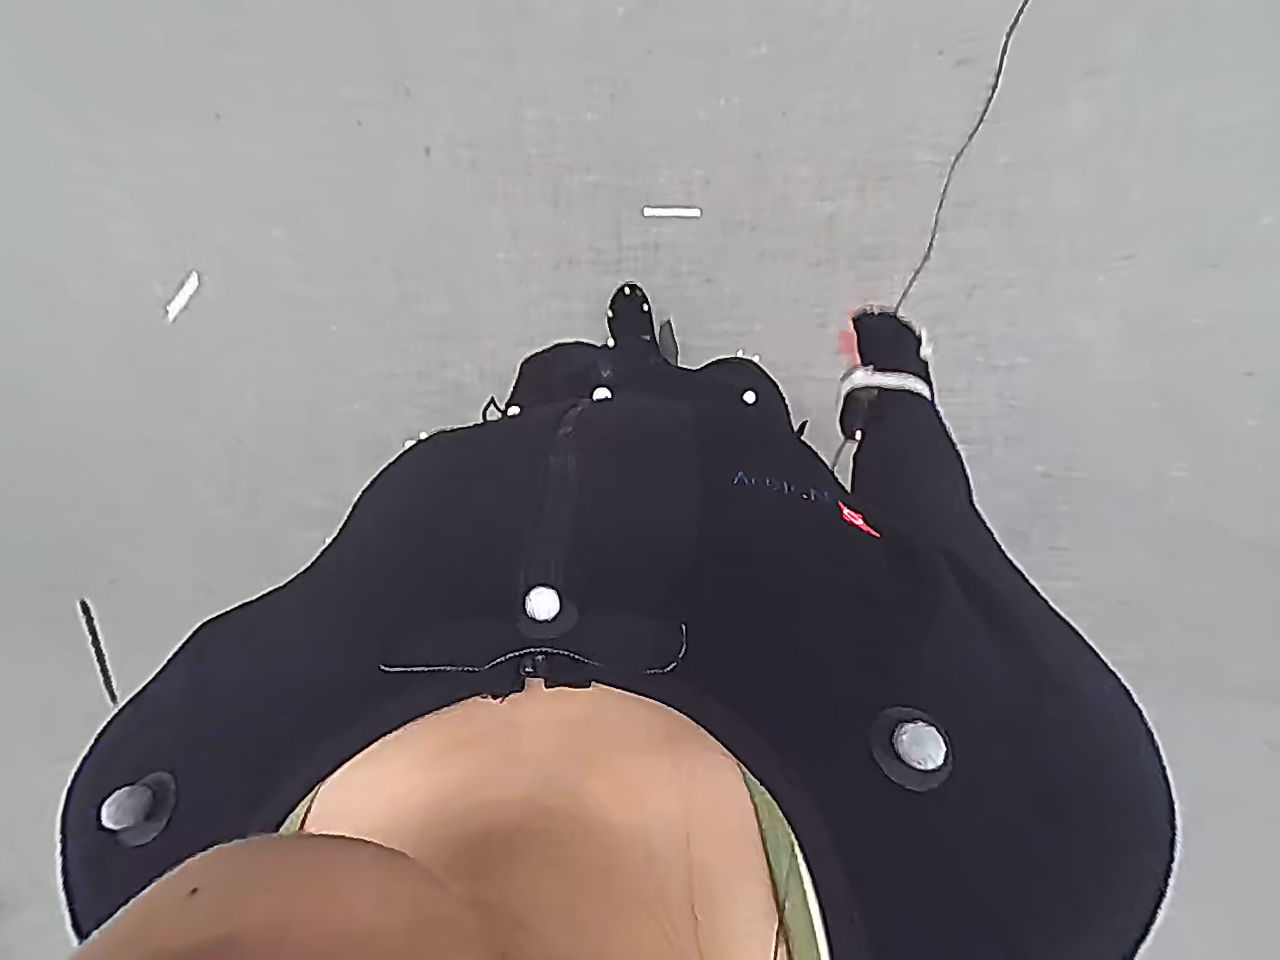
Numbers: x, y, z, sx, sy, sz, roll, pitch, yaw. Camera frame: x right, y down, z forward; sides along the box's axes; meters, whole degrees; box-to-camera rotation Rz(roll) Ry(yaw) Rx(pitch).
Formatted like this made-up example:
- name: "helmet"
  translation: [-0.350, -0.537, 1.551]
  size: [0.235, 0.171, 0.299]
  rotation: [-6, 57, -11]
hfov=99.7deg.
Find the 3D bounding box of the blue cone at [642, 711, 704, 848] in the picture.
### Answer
- name: "blue cone"
  translation: [0.091, 0.835, 1.504]
  size: [0.193, 0.380, 0.192]
  rotation: [1, 104, 4]
